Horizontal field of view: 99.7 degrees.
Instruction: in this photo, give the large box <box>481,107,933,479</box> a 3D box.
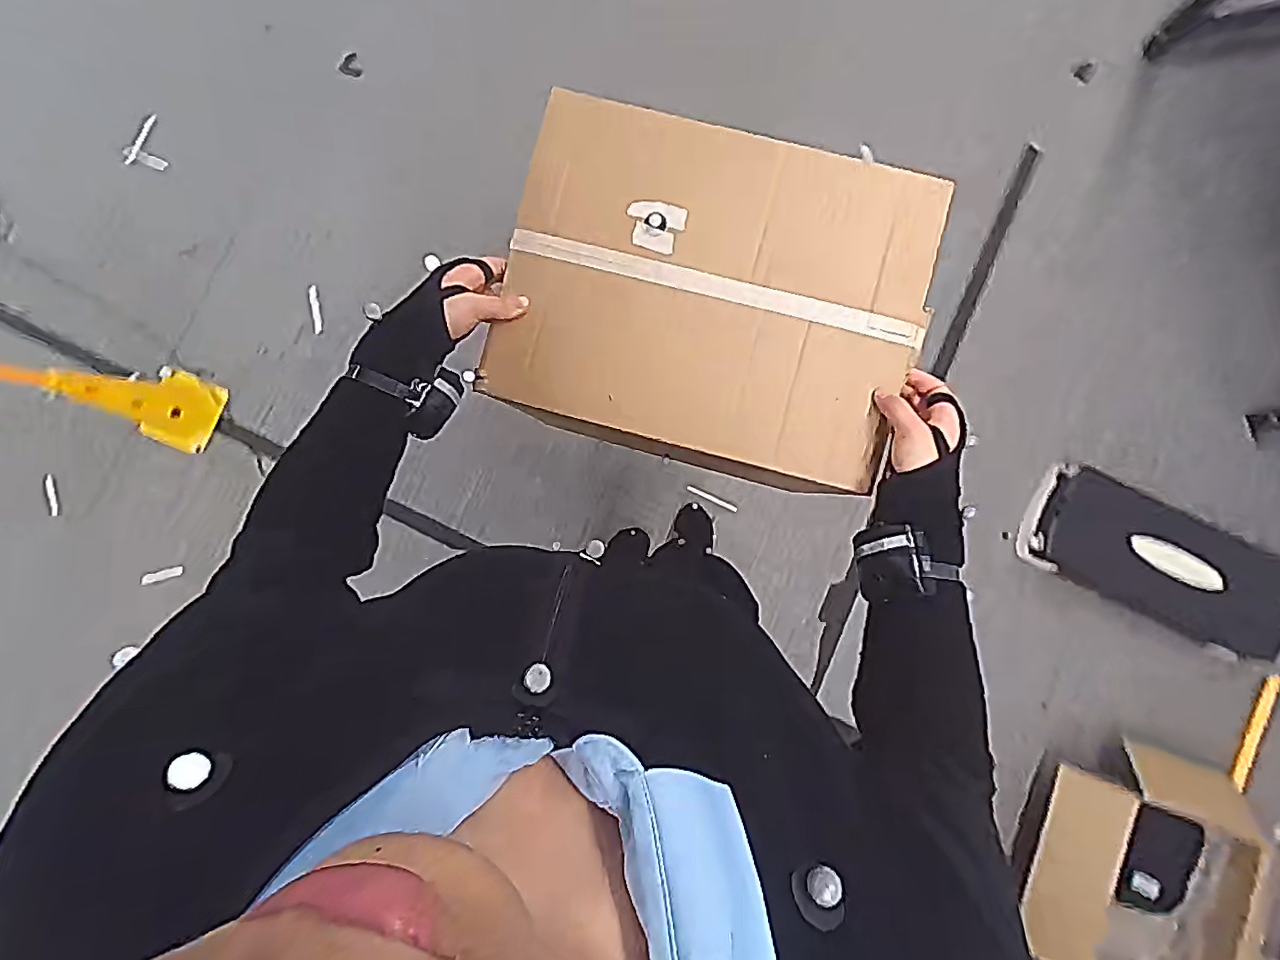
[{"bbox_3d":[0.073,-0.190,0.688,0.408,0.320,0.320,14,89,4],"label":"large box"}]
